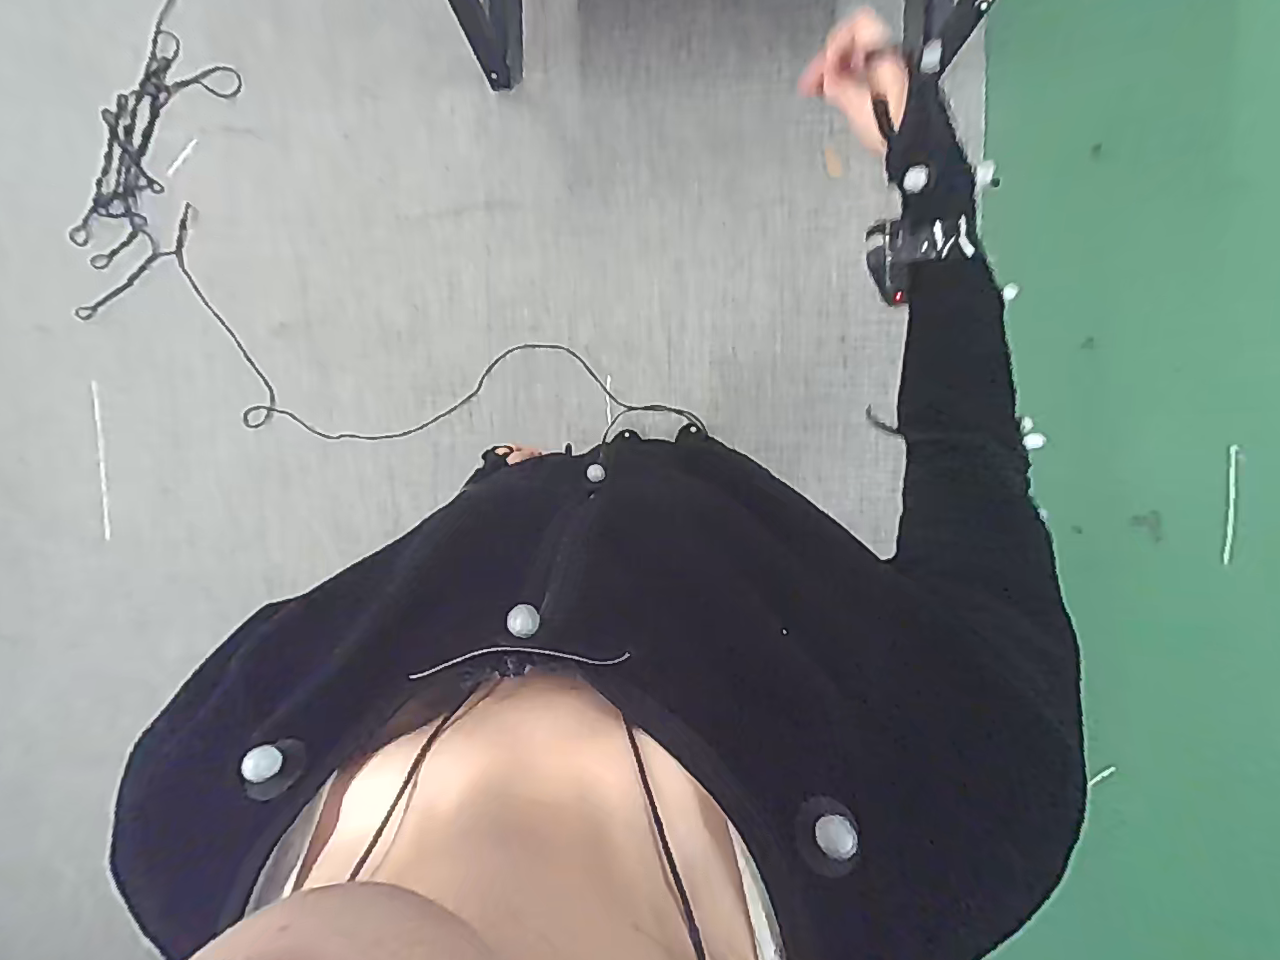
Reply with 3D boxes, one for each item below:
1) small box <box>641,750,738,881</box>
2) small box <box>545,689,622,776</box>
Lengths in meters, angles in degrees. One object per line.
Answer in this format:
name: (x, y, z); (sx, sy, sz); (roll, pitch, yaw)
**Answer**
small box: (0.099, 0.665, 1.090); (0.179, 0.176, 0.168); (-4, 90, 6)
small box: (-0.145, 0.670, 1.442); (0.179, 0.176, 0.168); (-3, 91, 4)
